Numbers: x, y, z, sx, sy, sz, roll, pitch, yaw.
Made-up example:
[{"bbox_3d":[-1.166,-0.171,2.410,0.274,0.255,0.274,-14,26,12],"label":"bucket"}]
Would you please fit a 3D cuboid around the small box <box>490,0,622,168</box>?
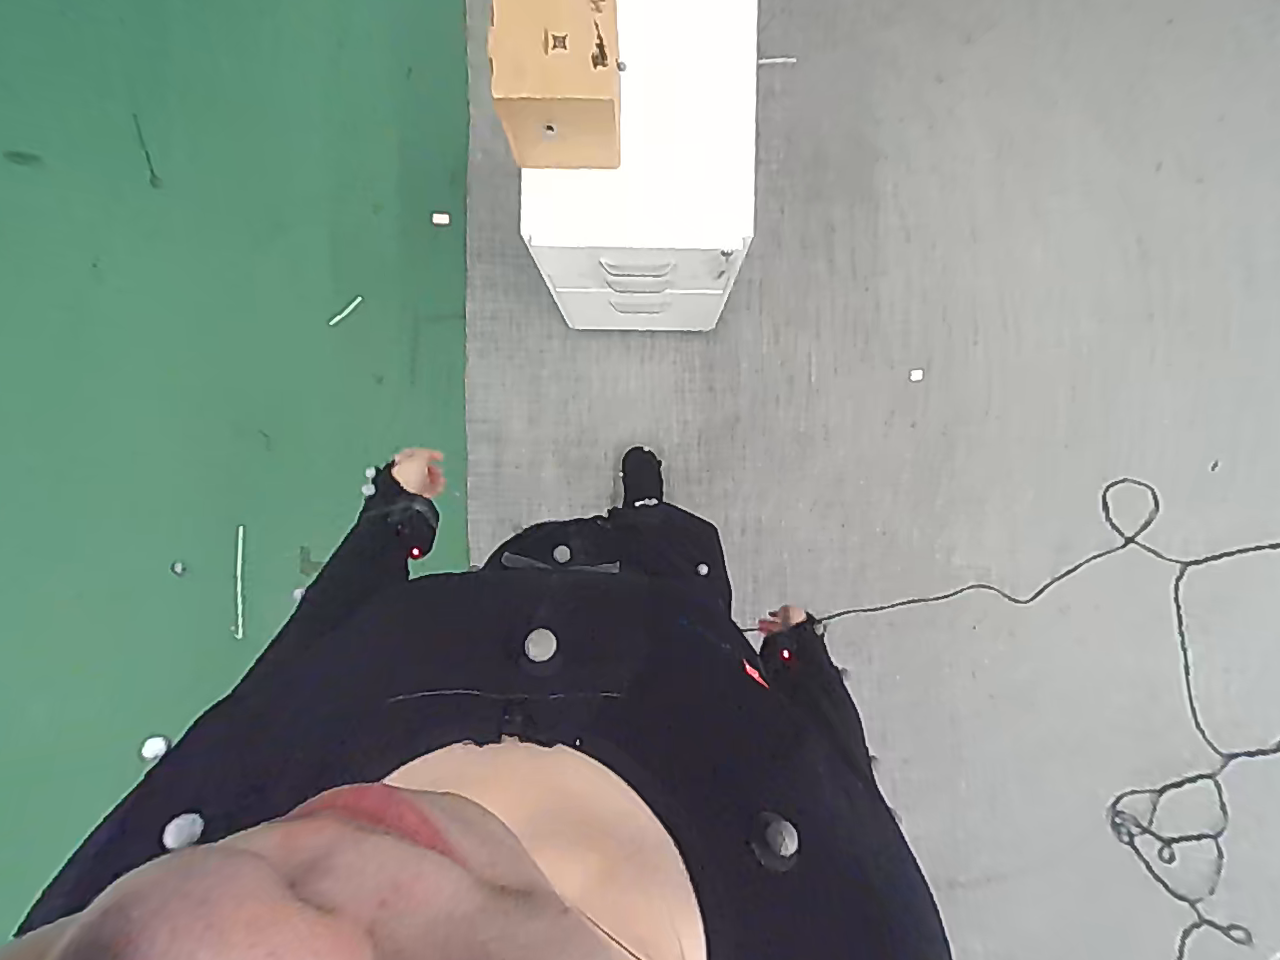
[{"bbox_3d":[-0.120,-0.610,0.836,0.179,0.176,0.168,1,89,0],"label":"small box"}]
